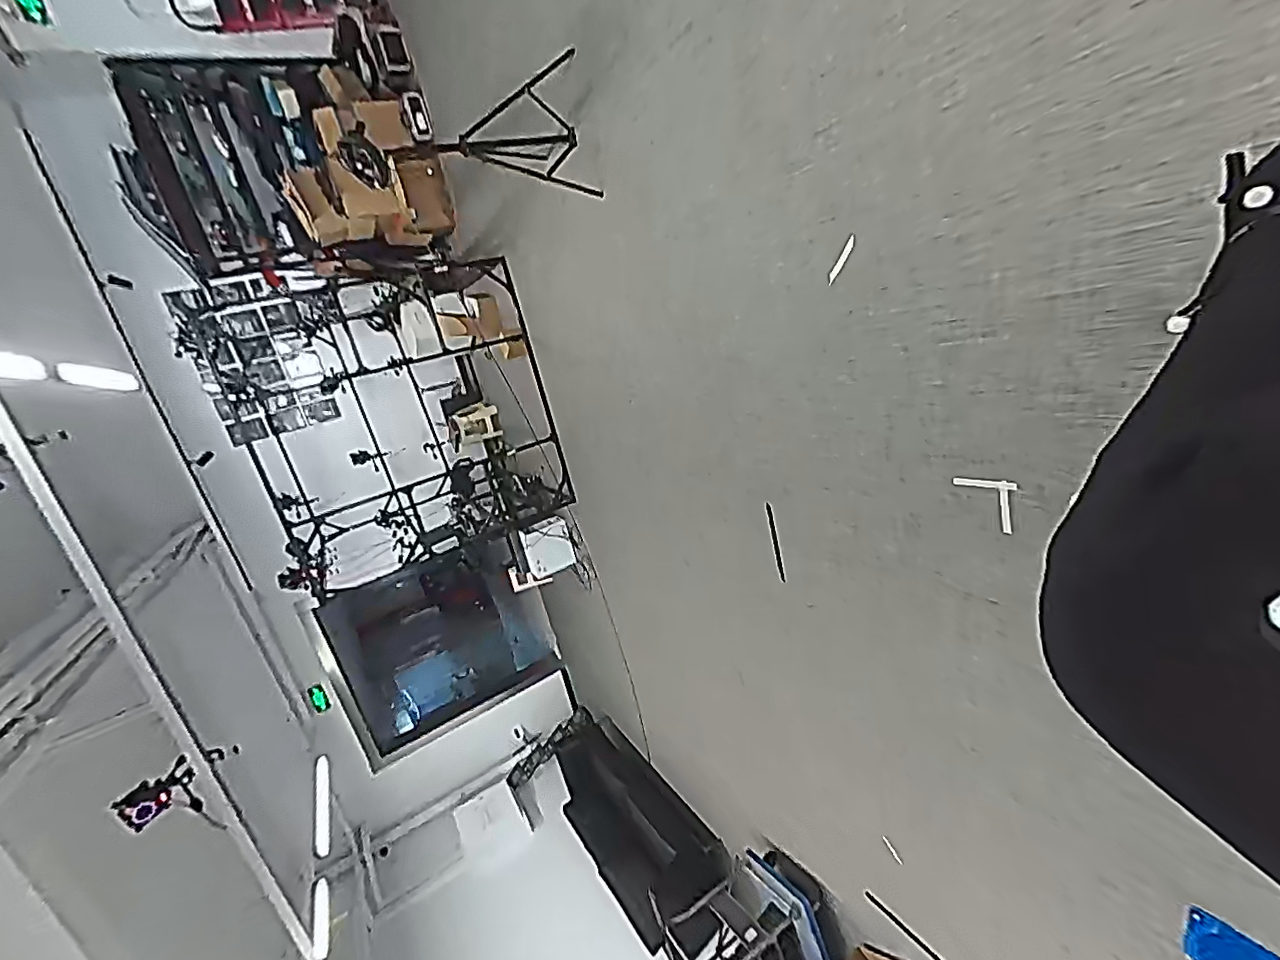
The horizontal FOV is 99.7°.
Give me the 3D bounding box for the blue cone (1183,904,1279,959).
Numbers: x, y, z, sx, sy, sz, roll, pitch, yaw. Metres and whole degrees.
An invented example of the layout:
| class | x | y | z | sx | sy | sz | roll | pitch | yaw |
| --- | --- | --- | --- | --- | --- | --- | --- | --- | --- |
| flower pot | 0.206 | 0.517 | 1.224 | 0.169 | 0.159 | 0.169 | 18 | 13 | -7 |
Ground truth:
| class | x | y | z | sx | sy | sz | roll | pitch | yaw |
| --- | --- | --- | --- | --- | --- | --- | --- | --- | --- |
| blue cone | 1.403 | 1.289 | 1.335 | 0.192 | 0.380 | 0.193 | 23 | 130 | 57 |
